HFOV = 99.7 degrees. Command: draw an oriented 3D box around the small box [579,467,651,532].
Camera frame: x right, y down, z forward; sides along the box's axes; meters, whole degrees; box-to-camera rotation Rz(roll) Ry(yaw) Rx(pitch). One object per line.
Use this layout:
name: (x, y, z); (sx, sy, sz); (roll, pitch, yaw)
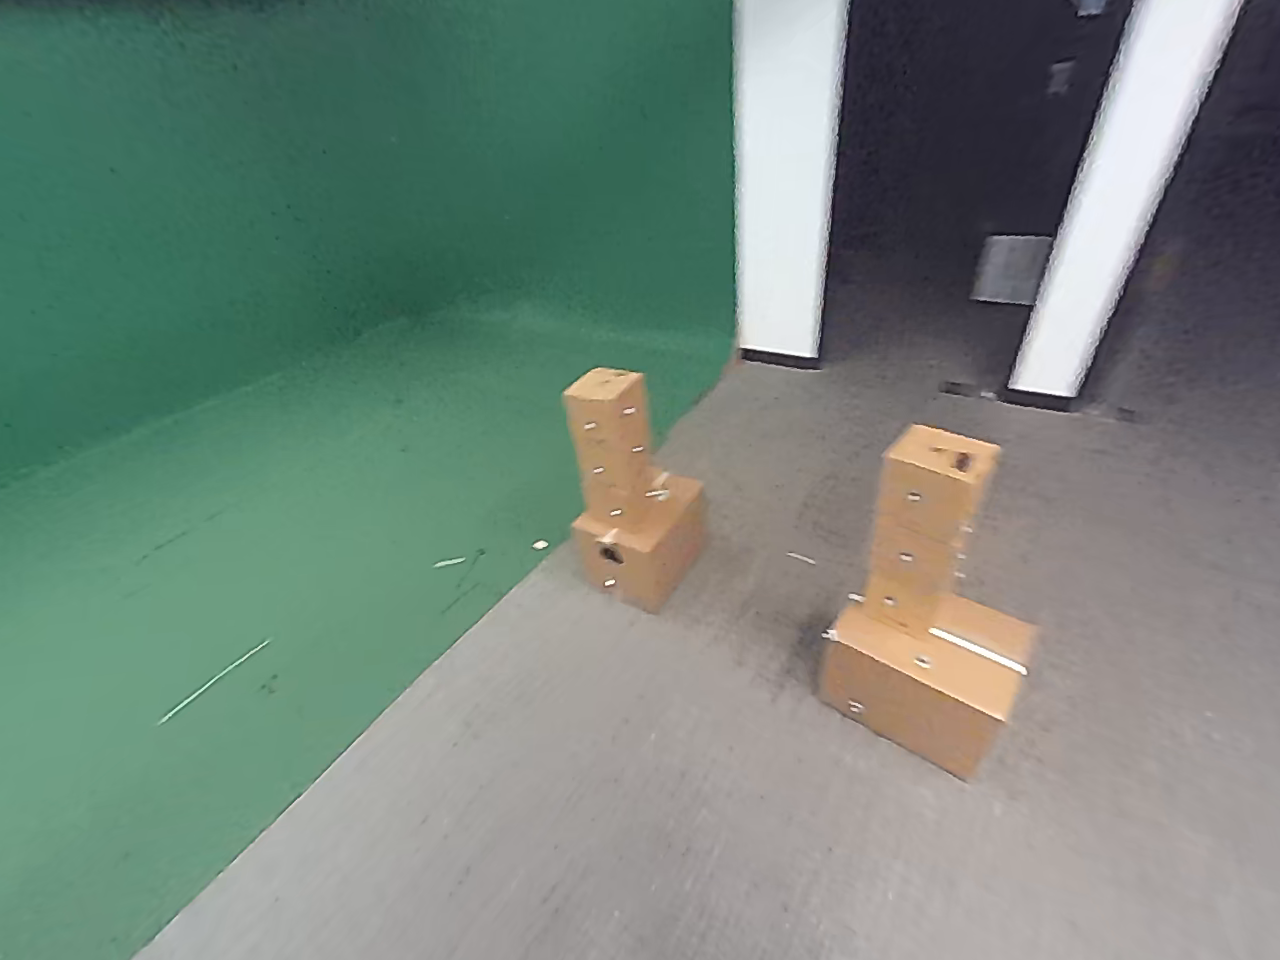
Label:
small box: (-0.076, 0.051, 1.809); (0.179, 0.176, 0.168); (15, 42, 29)

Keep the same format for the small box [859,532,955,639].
small box: (0.679, 0.272, 1.388); (0.168, 0.176, 0.179); (23, 45, 33)

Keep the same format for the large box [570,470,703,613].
large box: (0.003, 0.209, 1.992); (0.320, 0.320, 0.408); (17, 43, 29)

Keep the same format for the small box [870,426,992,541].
small box: (0.636, 0.010, 1.194); (0.179, 0.176, 0.168); (25, 46, 38)

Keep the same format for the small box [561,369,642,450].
small box: (-0.107, -0.211, 1.614); (0.168, 0.176, 0.179); (15, 43, 27)

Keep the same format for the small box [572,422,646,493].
small box: (-0.090, -0.082, 1.715); (0.168, 0.176, 0.179); (13, 41, 25)
